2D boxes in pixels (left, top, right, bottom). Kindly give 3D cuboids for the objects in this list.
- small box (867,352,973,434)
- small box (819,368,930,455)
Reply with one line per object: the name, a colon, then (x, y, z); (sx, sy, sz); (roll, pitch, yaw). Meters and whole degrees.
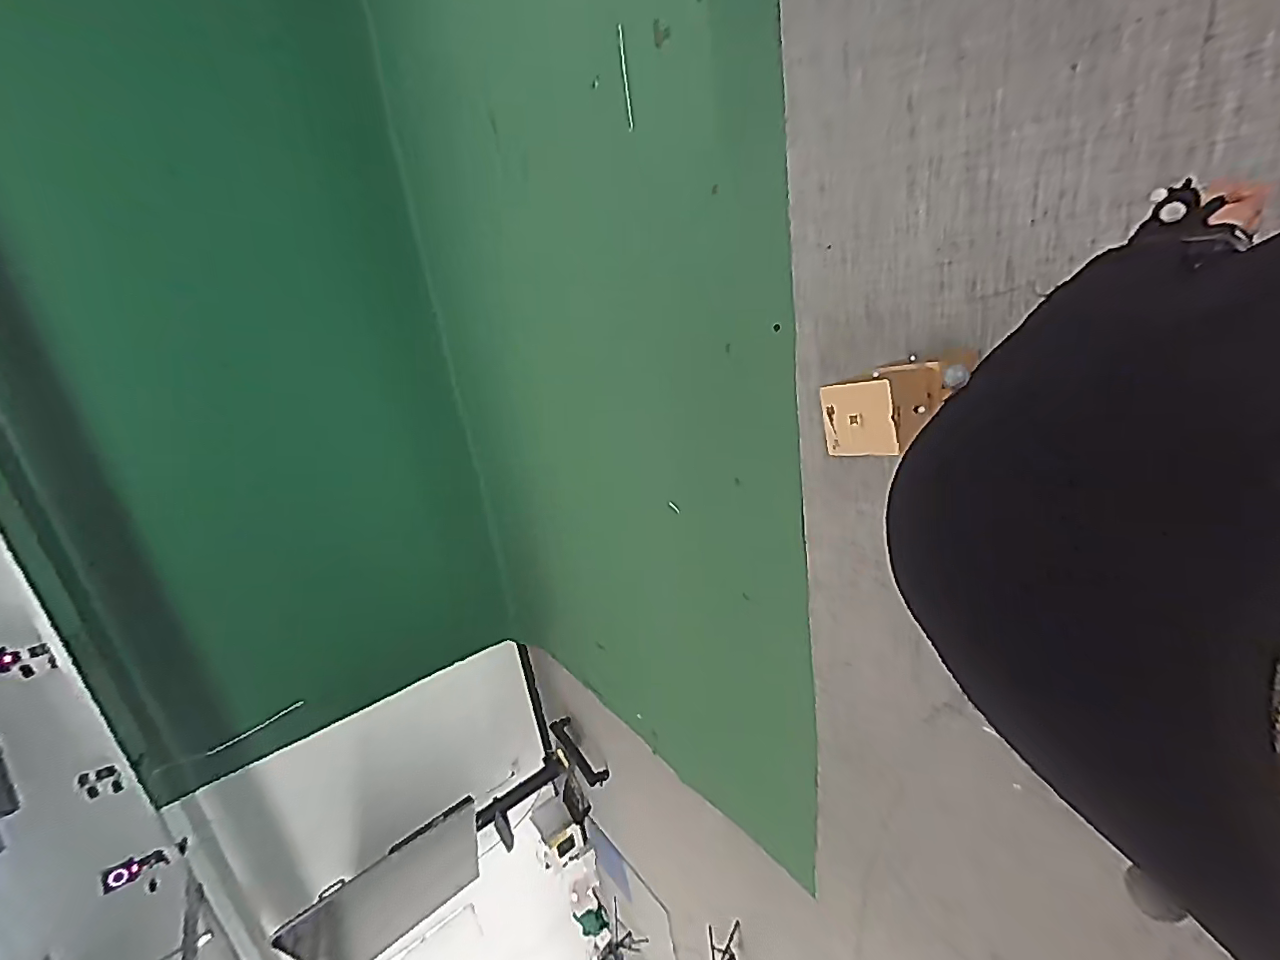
small box: (0.682, -0.210, 1.307); (0.179, 0.176, 0.168); (6, 111, 55)
small box: (0.542, -0.157, 1.237); (0.179, 0.176, 0.168); (4, 108, 54)
